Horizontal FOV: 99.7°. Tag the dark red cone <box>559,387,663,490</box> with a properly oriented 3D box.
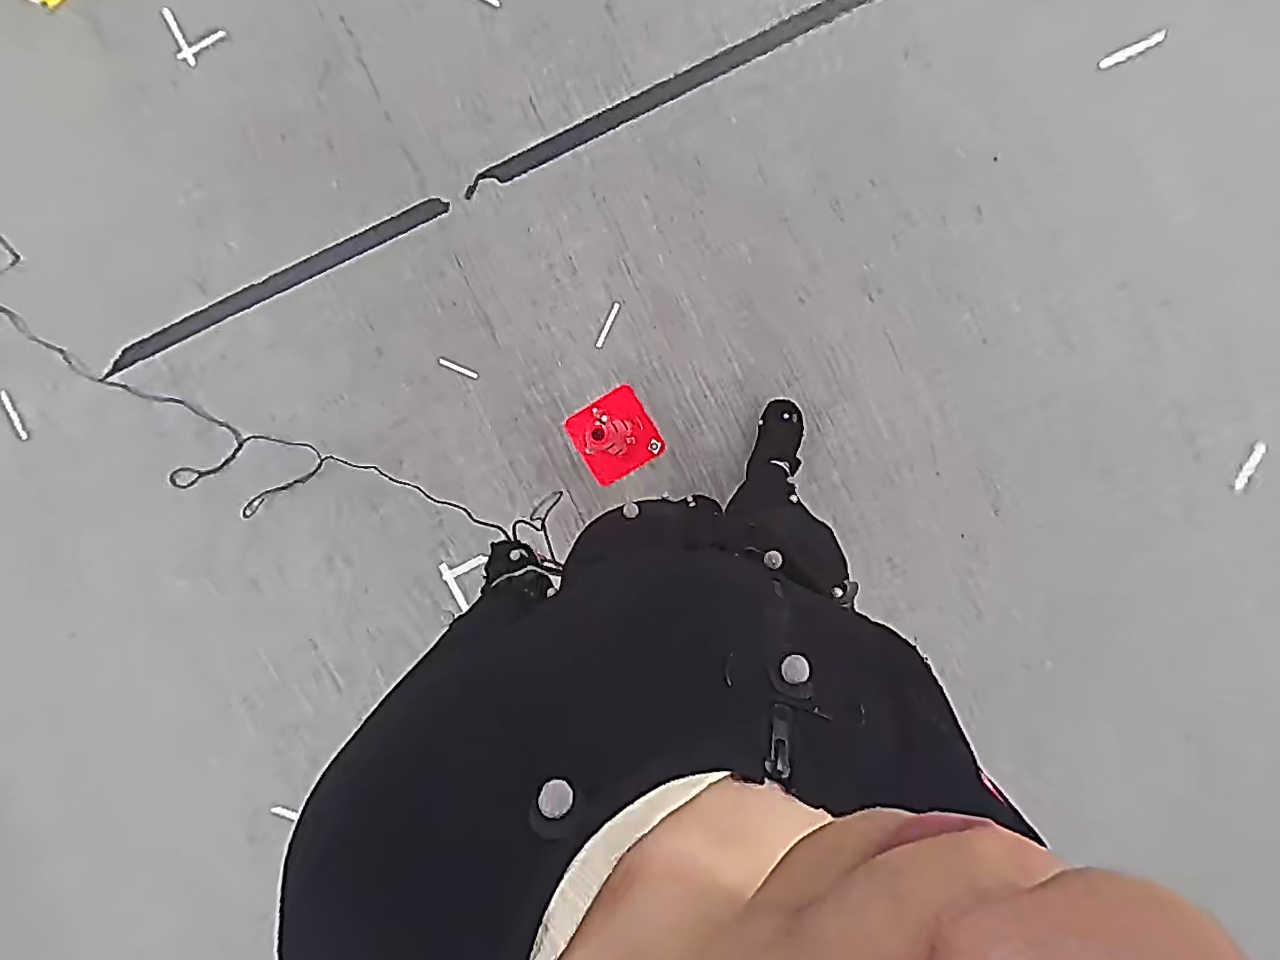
[{"bbox_3d":[-0.080,-0.091,1.158,0.202,0.394,0.201,-32,91,4],"label":"dark red cone"}]
